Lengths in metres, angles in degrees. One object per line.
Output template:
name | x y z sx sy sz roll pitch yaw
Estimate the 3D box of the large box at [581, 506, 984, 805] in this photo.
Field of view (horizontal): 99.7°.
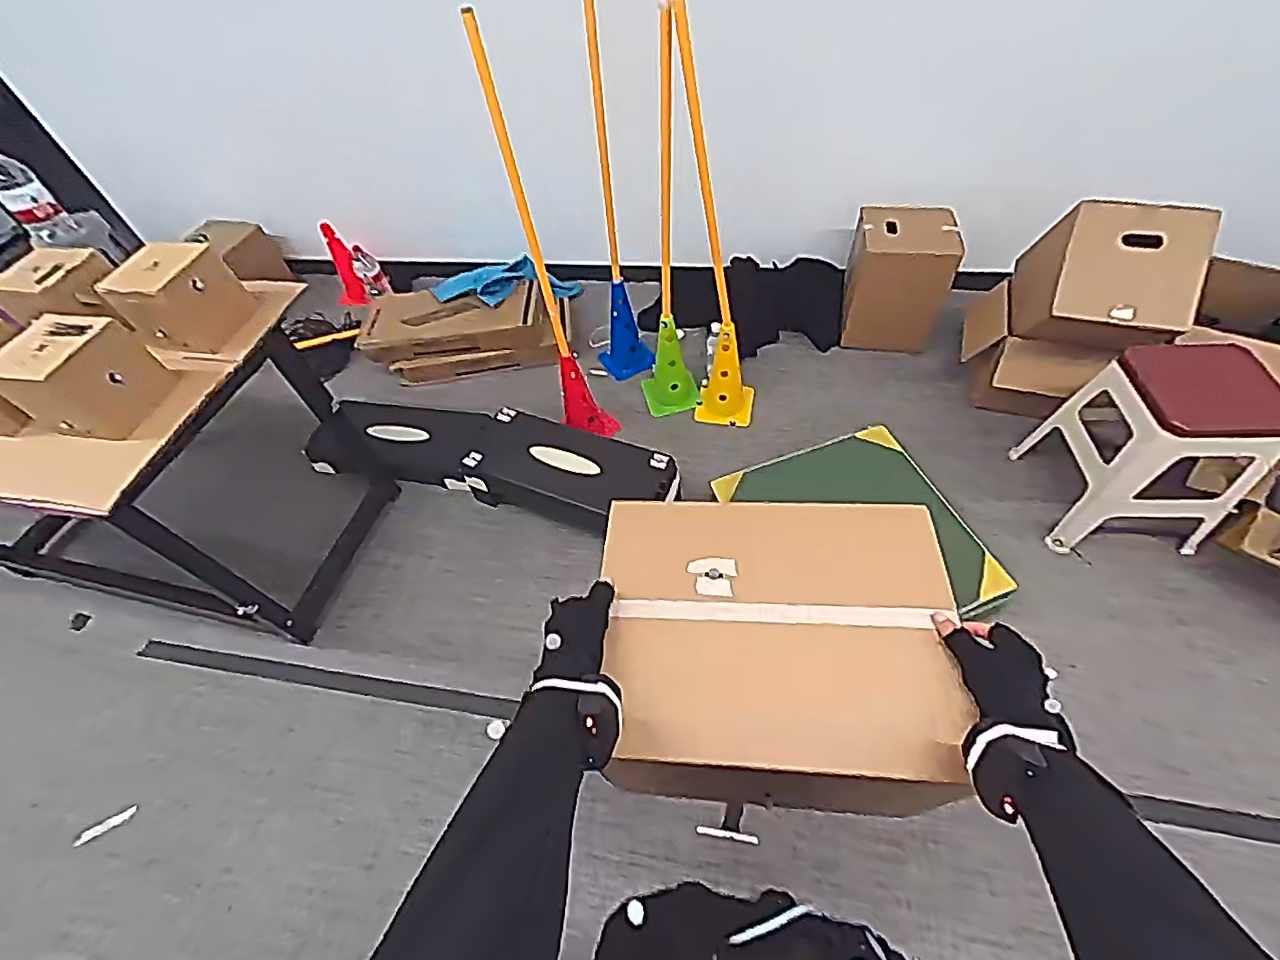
large box | 0.164 0.246 0.745 0.408 0.320 0.320 0 53 9
